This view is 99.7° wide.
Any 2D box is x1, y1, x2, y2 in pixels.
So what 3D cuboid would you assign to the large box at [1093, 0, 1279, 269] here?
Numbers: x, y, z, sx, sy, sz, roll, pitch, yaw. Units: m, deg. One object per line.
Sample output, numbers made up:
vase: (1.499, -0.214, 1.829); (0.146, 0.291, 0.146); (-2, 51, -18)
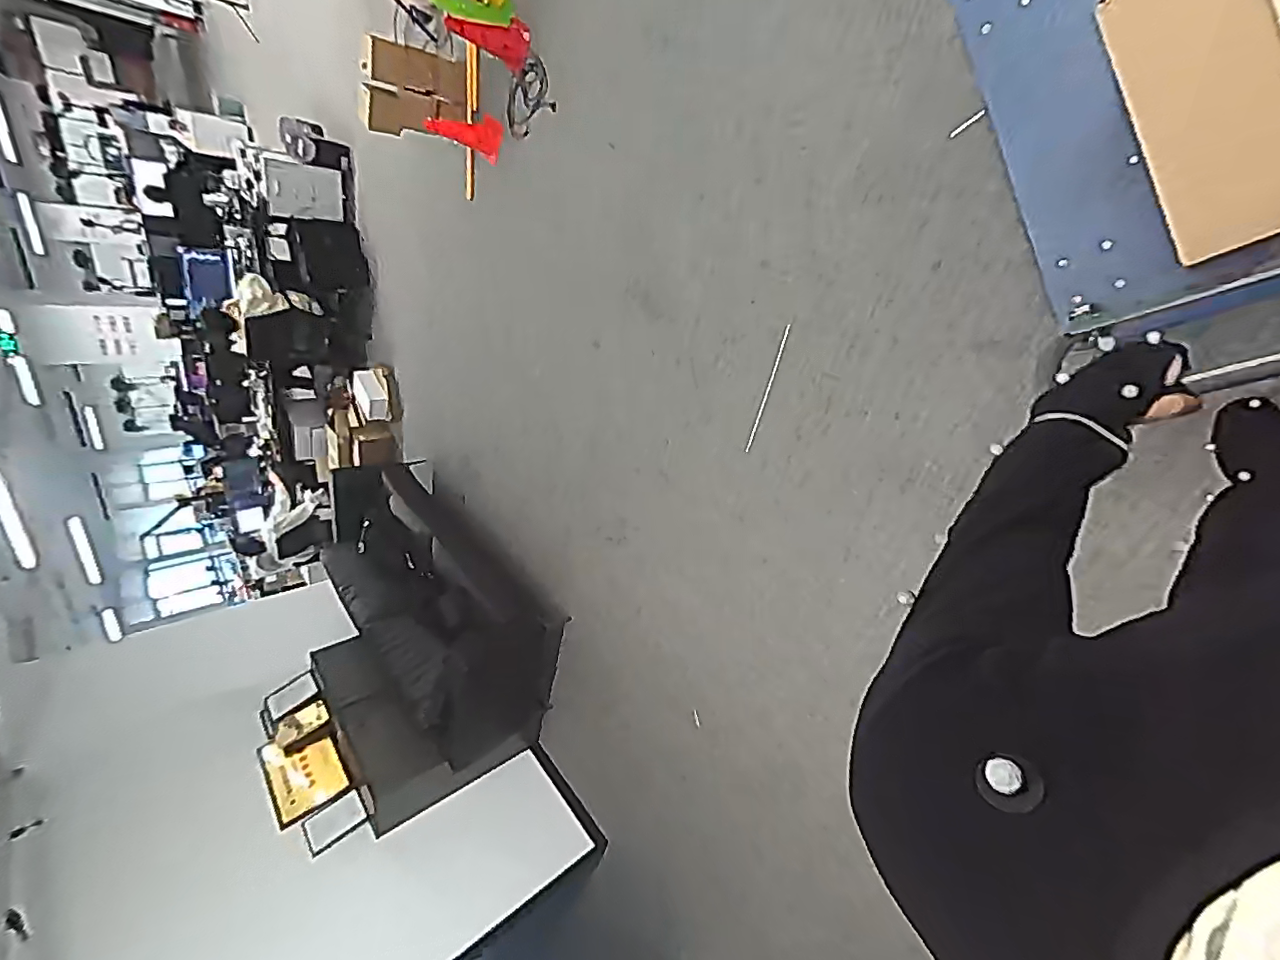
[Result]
large box: (0.948, -0.574, 0.799); (0.320, 0.320, 0.408); (-20, 91, 47)
